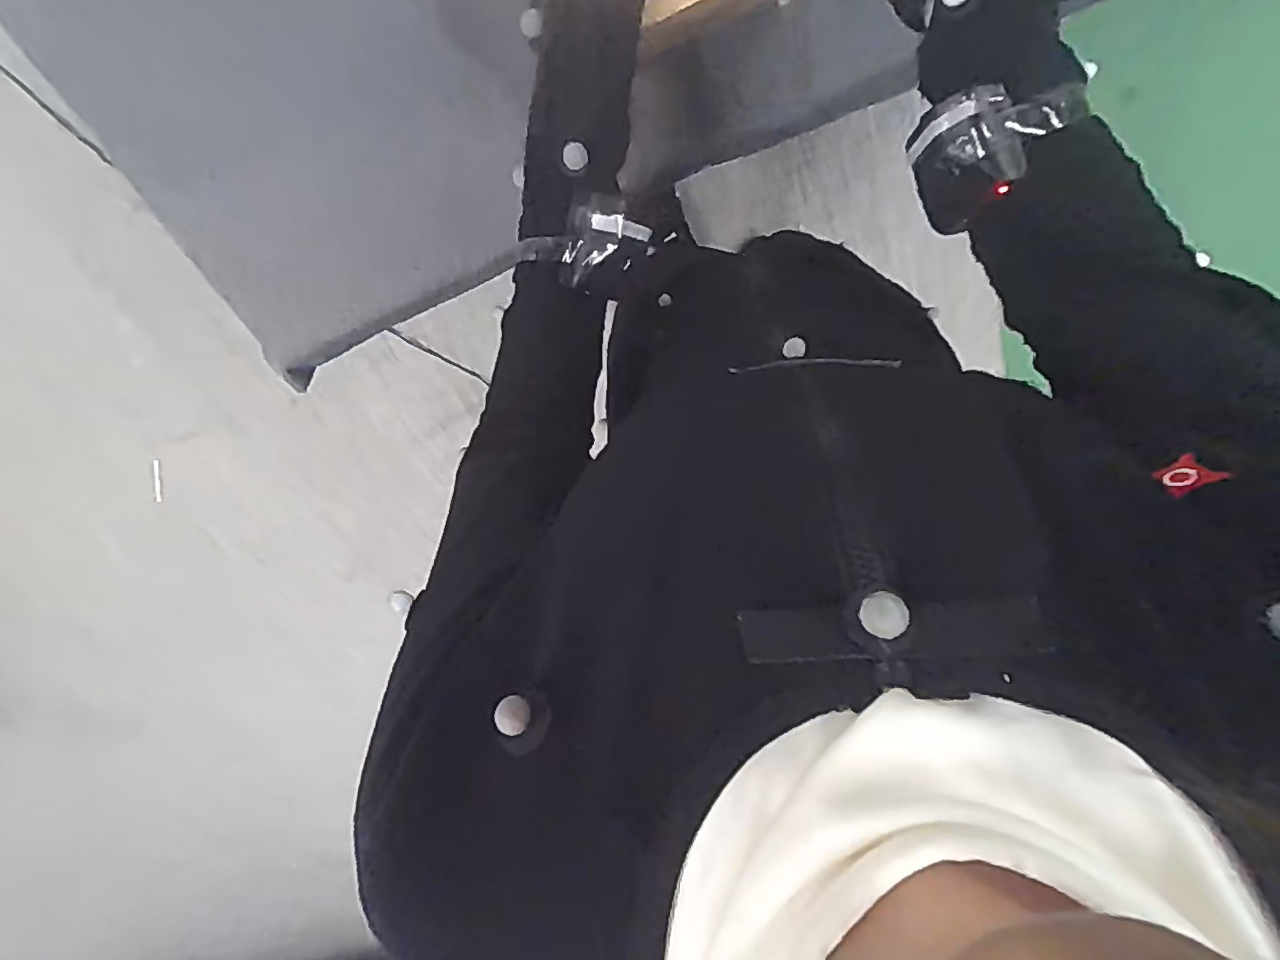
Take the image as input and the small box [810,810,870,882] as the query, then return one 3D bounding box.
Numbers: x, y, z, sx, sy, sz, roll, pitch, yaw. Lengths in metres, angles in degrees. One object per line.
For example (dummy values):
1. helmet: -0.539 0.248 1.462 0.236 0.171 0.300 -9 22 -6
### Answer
1. small box: 0.794 1.461 2.161 0.179 0.176 0.168 -19 119 9
